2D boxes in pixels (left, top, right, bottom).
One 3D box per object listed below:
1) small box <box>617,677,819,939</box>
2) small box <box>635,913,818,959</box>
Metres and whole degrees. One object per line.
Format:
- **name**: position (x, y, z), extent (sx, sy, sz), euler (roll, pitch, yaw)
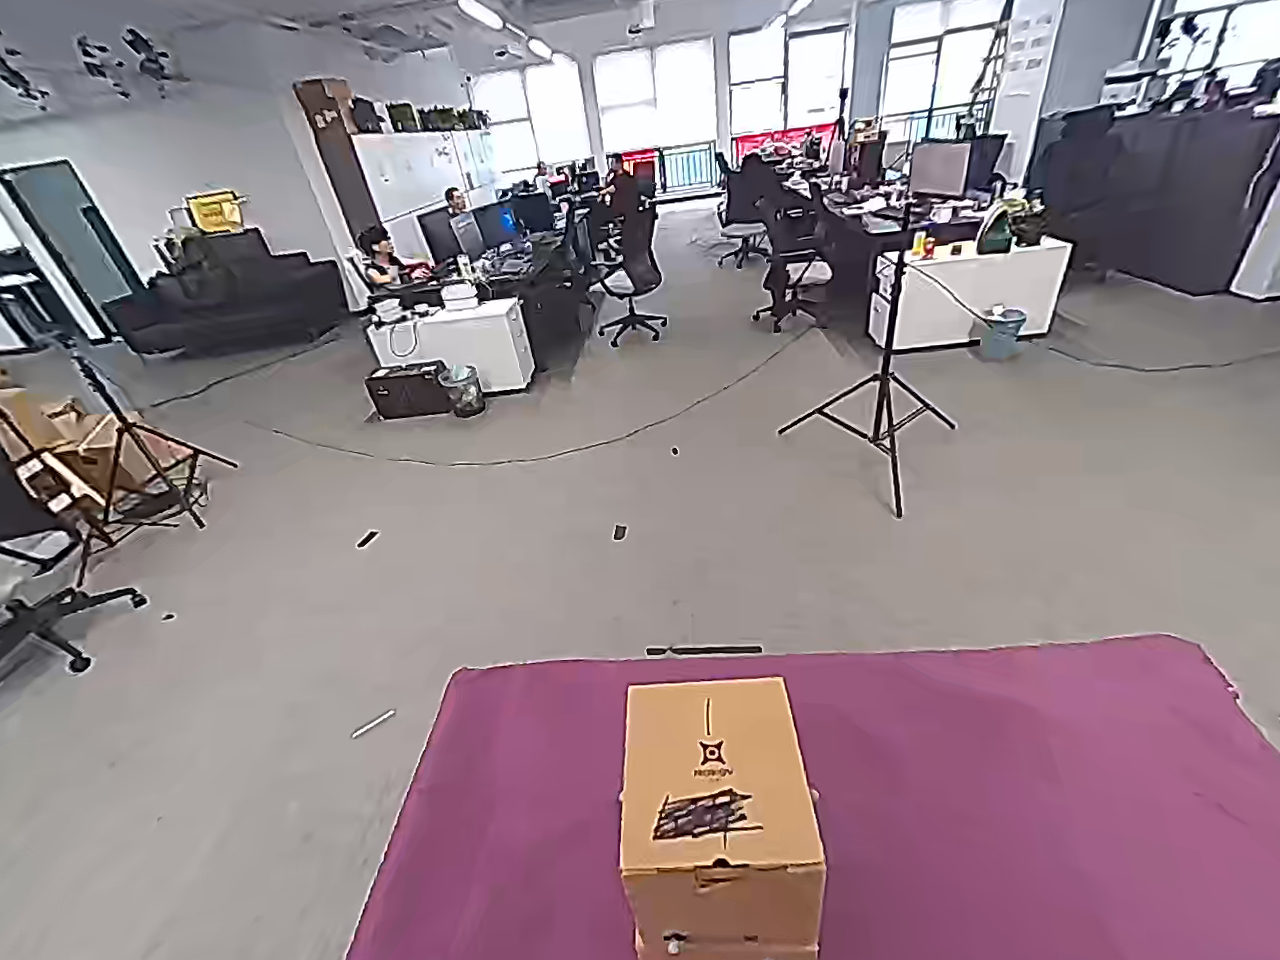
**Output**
- **small box**: position (0.075, 0.326, 0.540), extent (0.168, 0.176, 0.179), euler (-5, 32, 5)
- **small box**: position (0.095, 0.467, 0.623), extent (0.179, 0.176, 0.168), euler (-5, 33, 7)
